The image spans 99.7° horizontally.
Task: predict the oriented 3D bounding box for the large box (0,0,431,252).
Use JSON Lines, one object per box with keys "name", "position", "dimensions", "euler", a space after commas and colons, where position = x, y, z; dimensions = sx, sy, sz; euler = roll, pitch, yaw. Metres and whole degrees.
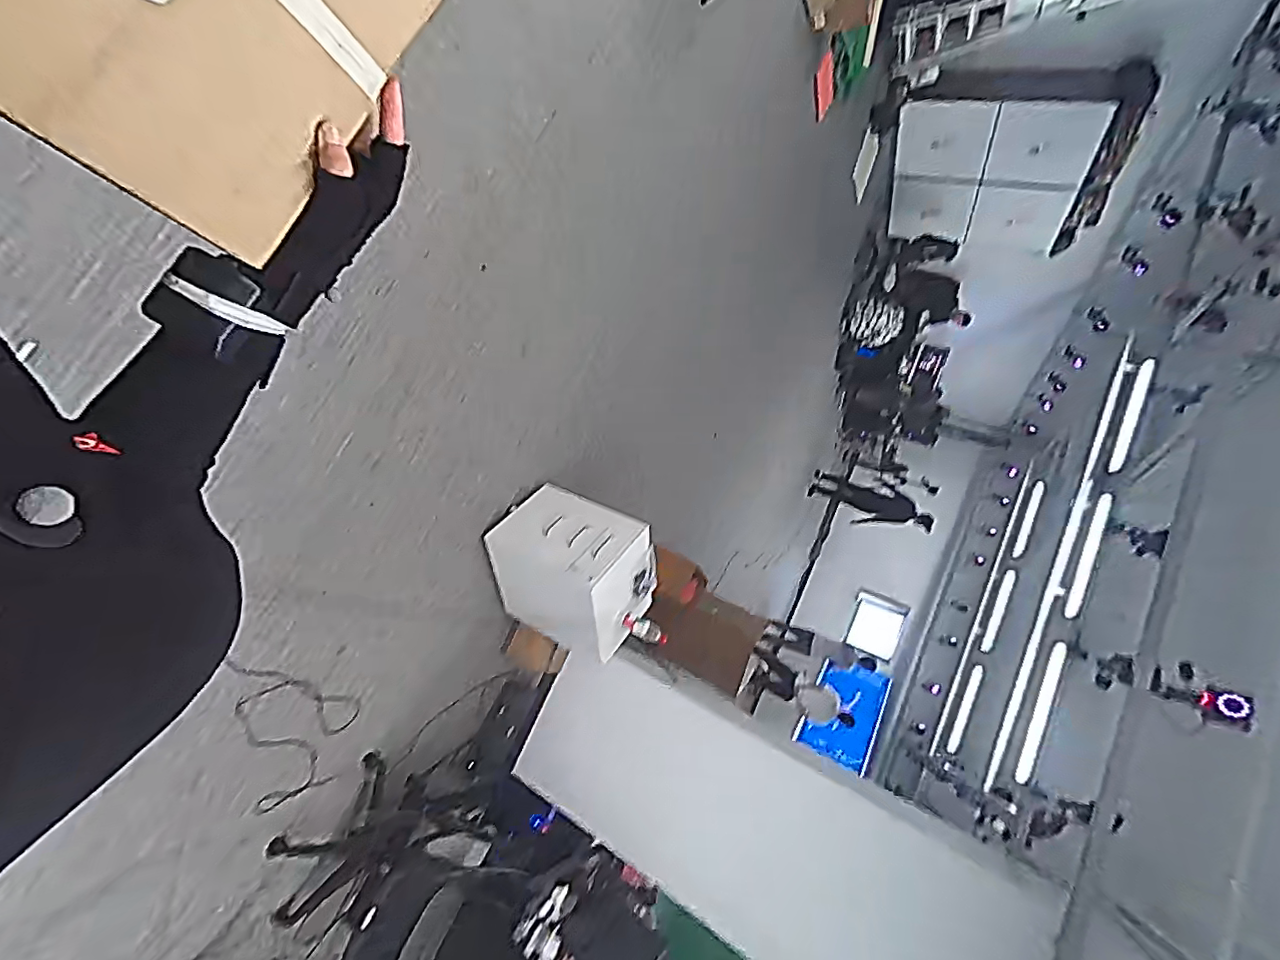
{"name": "large box", "position": [-0.391, -0.413, 0.303], "dimensions": [0.320, 0.320, 0.408], "euler": [-57, 150, -2]}
